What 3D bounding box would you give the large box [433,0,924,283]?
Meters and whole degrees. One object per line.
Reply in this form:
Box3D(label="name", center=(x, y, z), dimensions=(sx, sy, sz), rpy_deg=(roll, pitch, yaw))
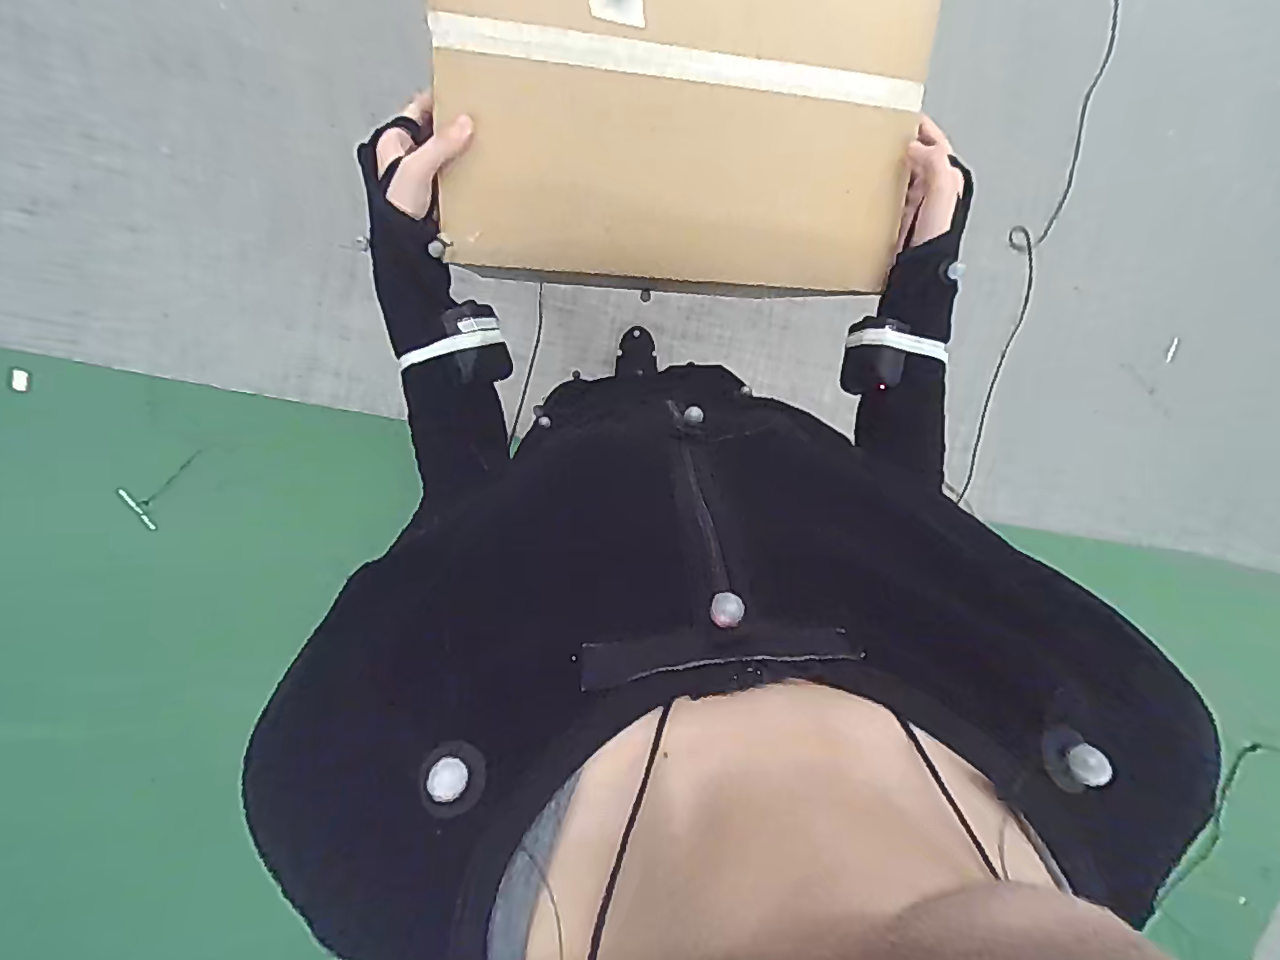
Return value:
Box3D(label="large box", center=(0.017, -0.383, 0.583), dimensions=(0.408, 0.320, 0.320), rpy_deg=(0, 108, -10))
